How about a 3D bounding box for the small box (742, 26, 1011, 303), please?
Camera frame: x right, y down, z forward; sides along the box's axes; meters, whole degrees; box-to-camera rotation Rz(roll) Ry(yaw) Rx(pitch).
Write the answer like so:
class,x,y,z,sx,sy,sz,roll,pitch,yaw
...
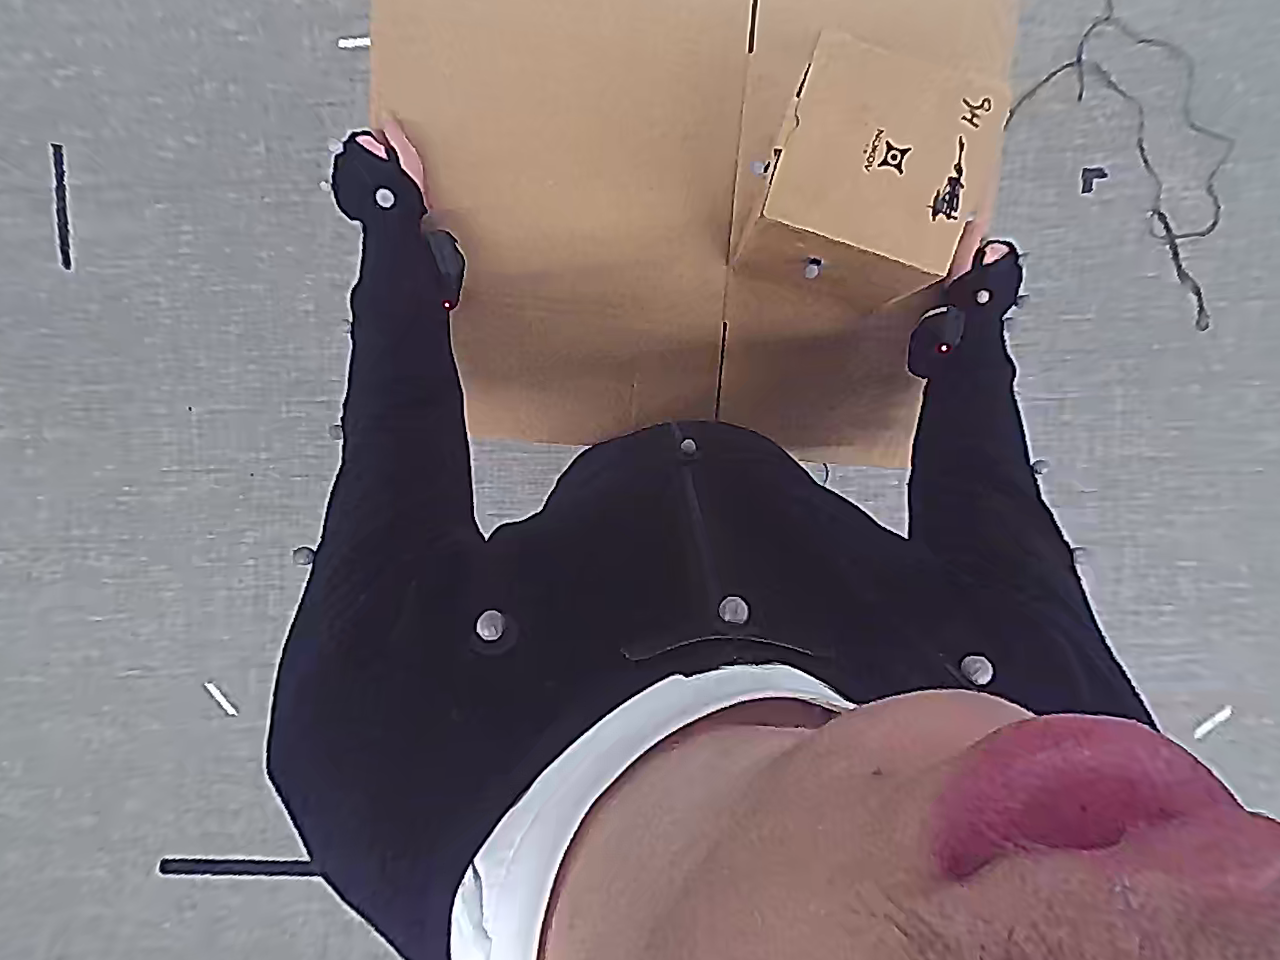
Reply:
class,x,y,z,sx,sy,sz,roll,pitch,yaw
small box,0.216,-0.298,0.553,0.179,0.176,0.168,18,96,1
